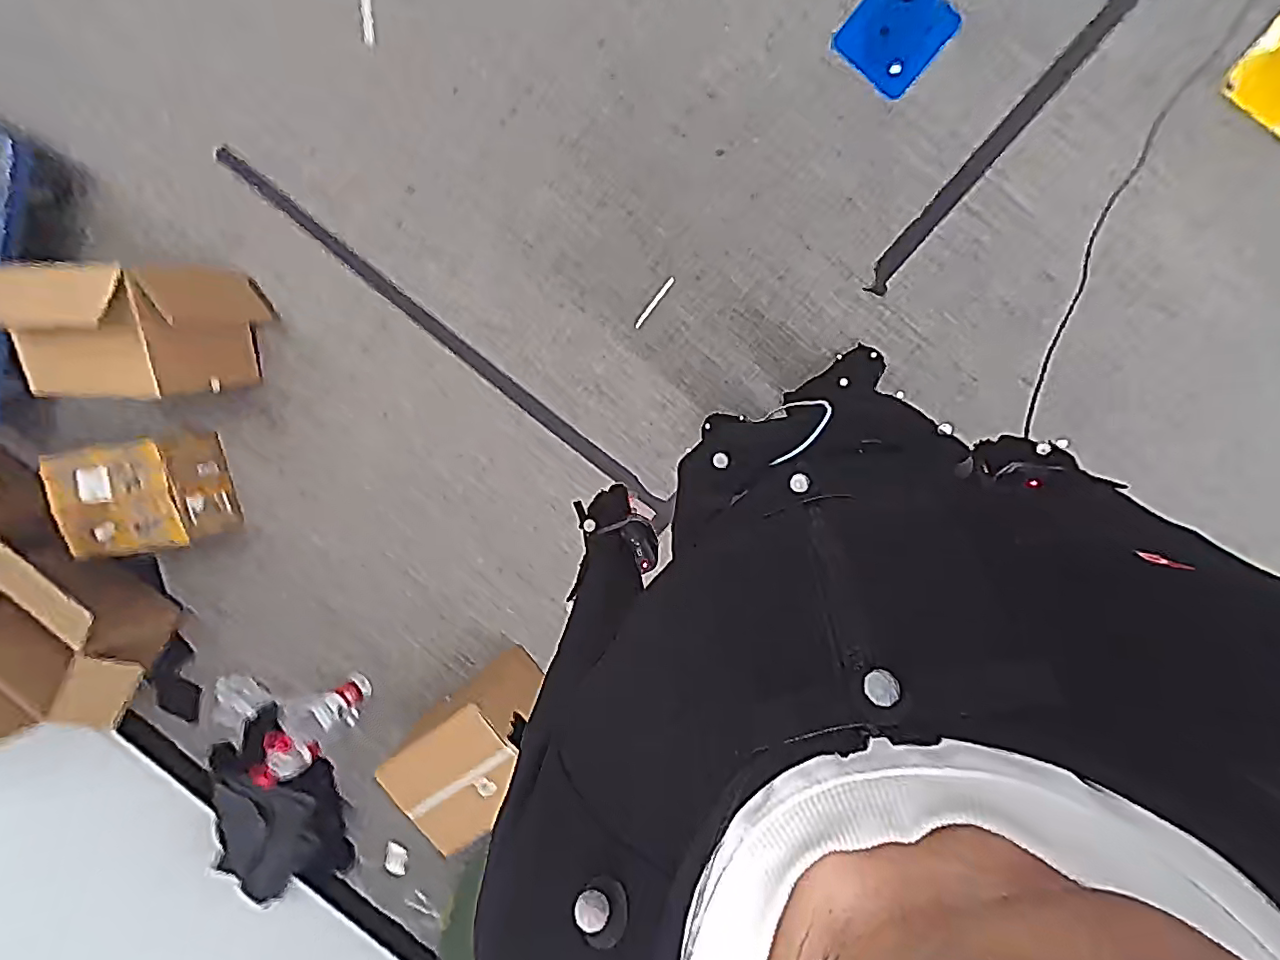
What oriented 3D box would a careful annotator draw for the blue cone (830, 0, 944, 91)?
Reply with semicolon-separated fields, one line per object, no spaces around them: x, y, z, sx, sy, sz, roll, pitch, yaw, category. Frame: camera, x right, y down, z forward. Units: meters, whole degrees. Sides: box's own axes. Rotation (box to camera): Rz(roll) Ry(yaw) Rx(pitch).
0.507;-0.943;1.016;0.192;0.380;0.193;44;105;0;blue cone
